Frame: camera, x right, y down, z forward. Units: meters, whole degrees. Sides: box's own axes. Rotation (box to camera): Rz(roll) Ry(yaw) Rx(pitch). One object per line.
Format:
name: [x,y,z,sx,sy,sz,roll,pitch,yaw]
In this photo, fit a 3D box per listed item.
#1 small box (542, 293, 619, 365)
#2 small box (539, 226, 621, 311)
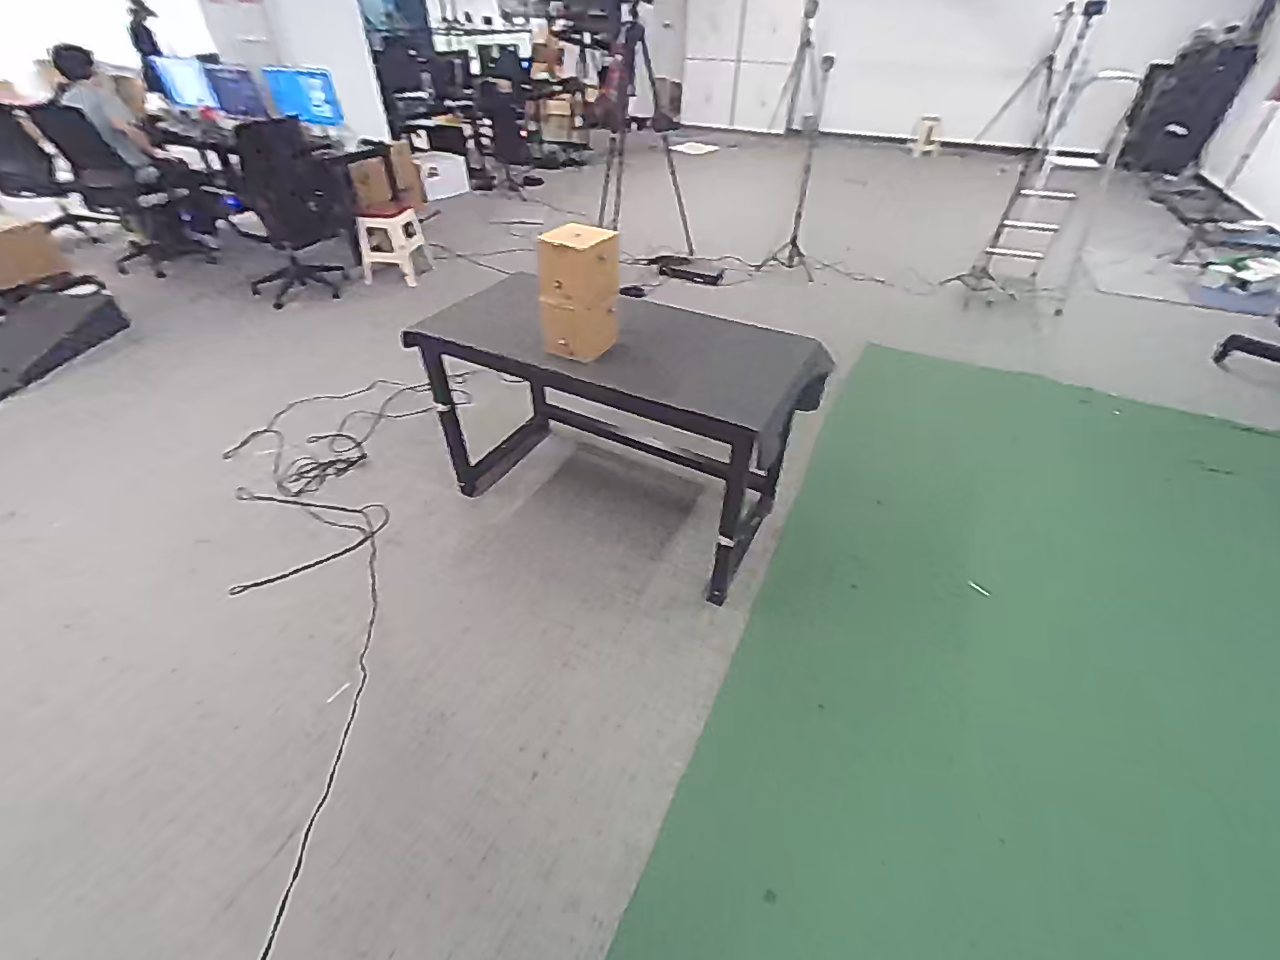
small box: [-0.176,-0.474,1.640,0.168,0.176,0.179,20,43,22]
small box: [-0.168,-0.602,1.541,0.168,0.176,0.179,21,44,22]
